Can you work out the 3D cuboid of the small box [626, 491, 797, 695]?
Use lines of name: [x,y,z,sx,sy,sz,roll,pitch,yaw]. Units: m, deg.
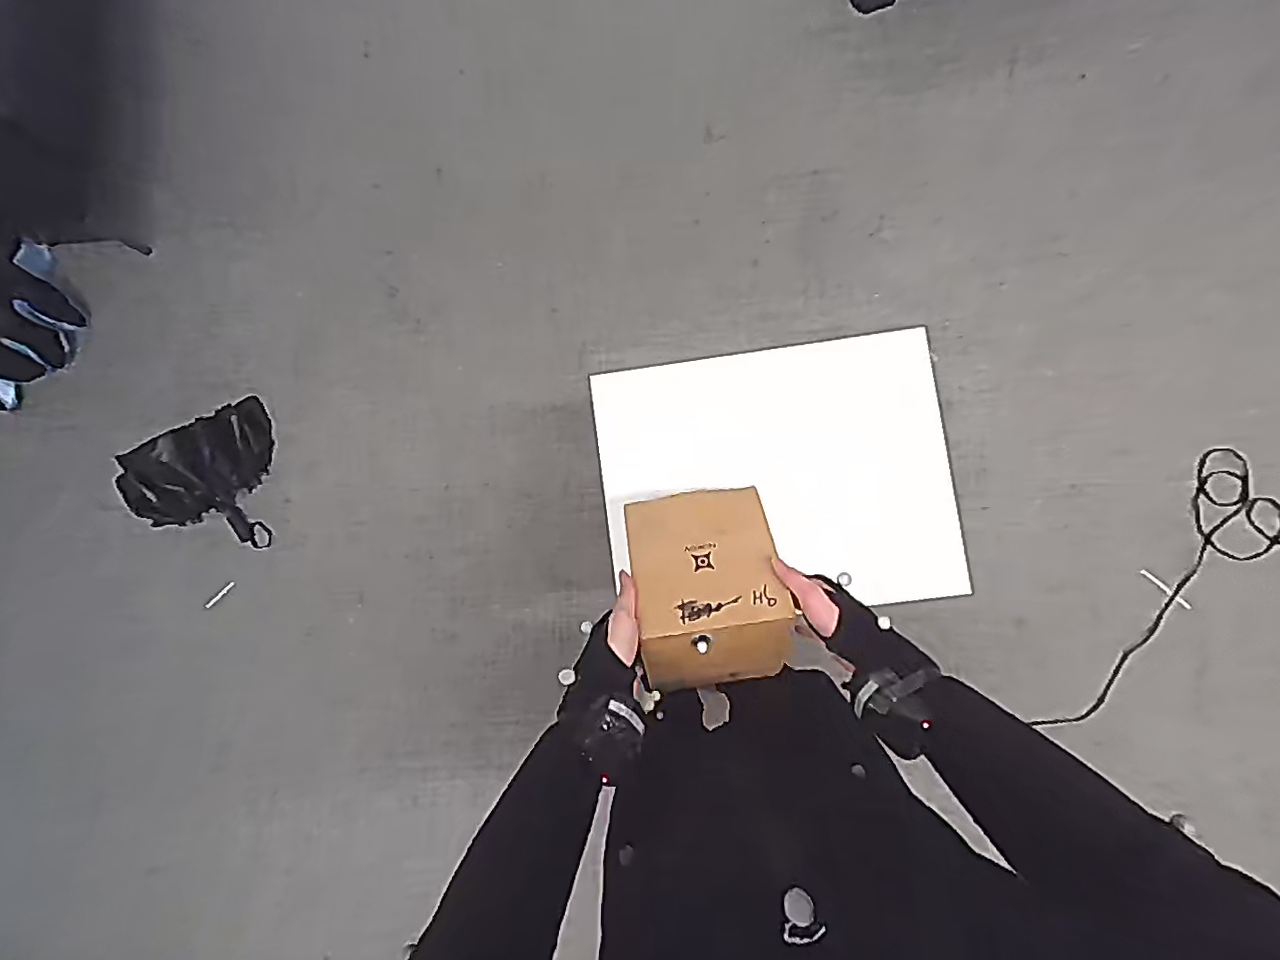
small box: [0.077,0.140,0.664,0.168,0.176,0.179,-9,51,0]
